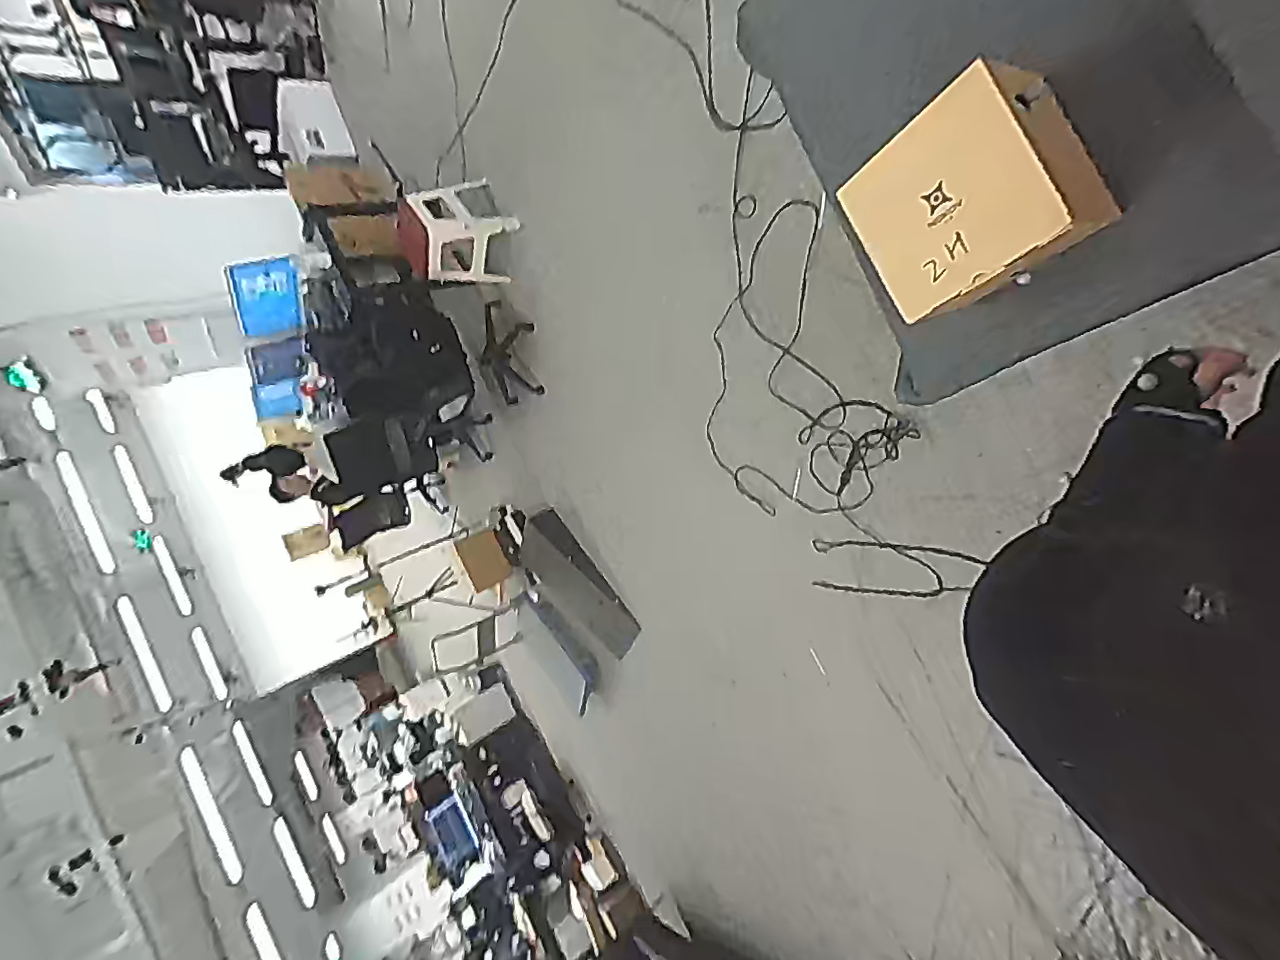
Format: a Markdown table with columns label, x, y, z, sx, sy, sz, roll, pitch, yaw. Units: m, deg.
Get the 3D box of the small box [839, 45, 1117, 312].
| label | x | y | z | sx | sy | sz | roll | pitch | yaw |
| --- | --- | --- | --- | --- | --- | --- | --- | --- | --- |
| small box | 0.359 | -0.309 | 0.581 | 0.168 | 0.176 | 0.179 | -33 | 83 | 55 |
